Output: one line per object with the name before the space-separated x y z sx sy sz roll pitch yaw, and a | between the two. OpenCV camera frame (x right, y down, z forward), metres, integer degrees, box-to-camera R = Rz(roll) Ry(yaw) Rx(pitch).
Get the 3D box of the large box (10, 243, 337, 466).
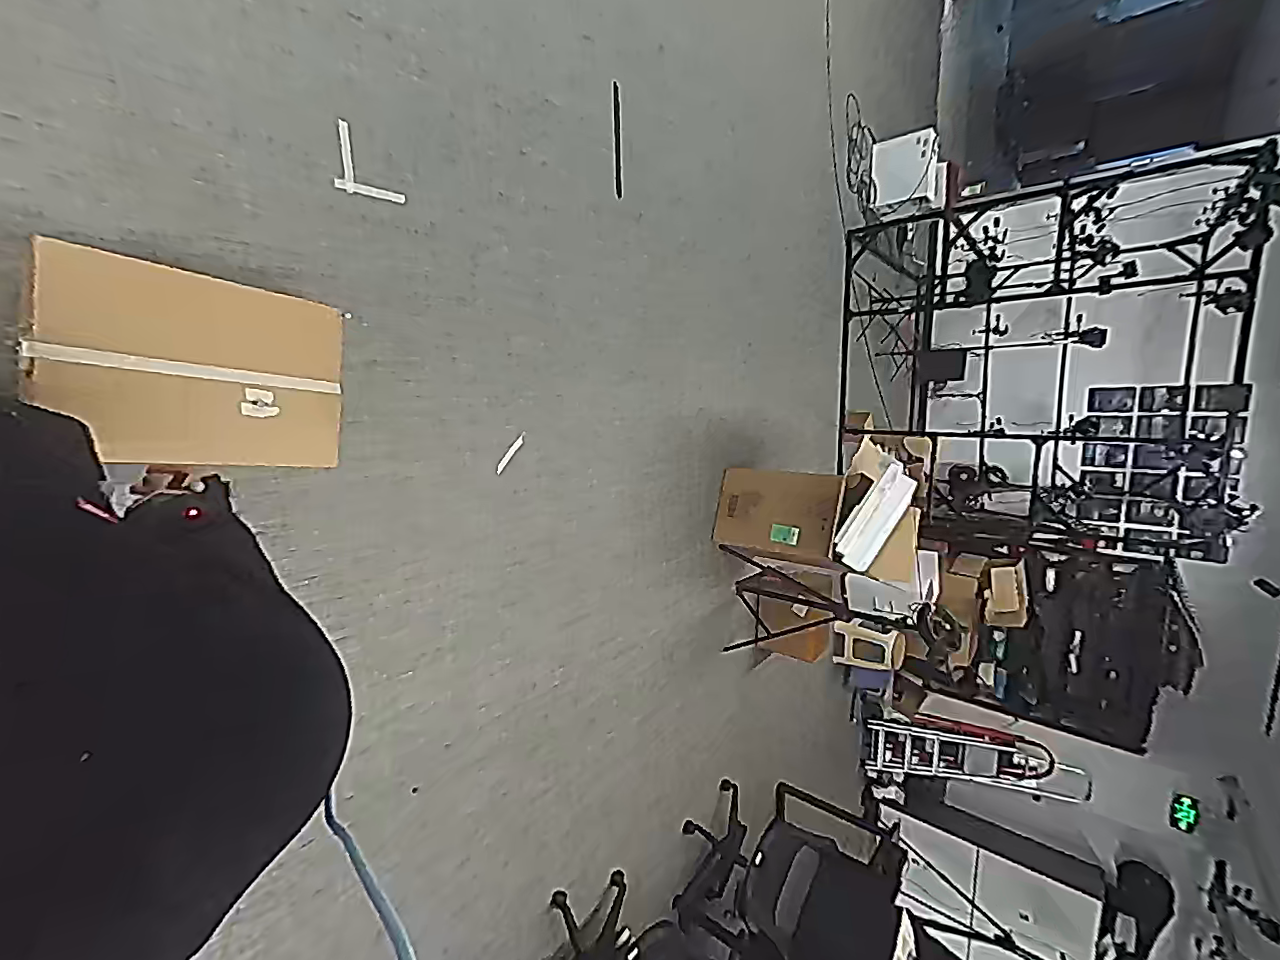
large box | -0.837 -0.189 0.992 0.408 0.320 0.320 0 95 -53
